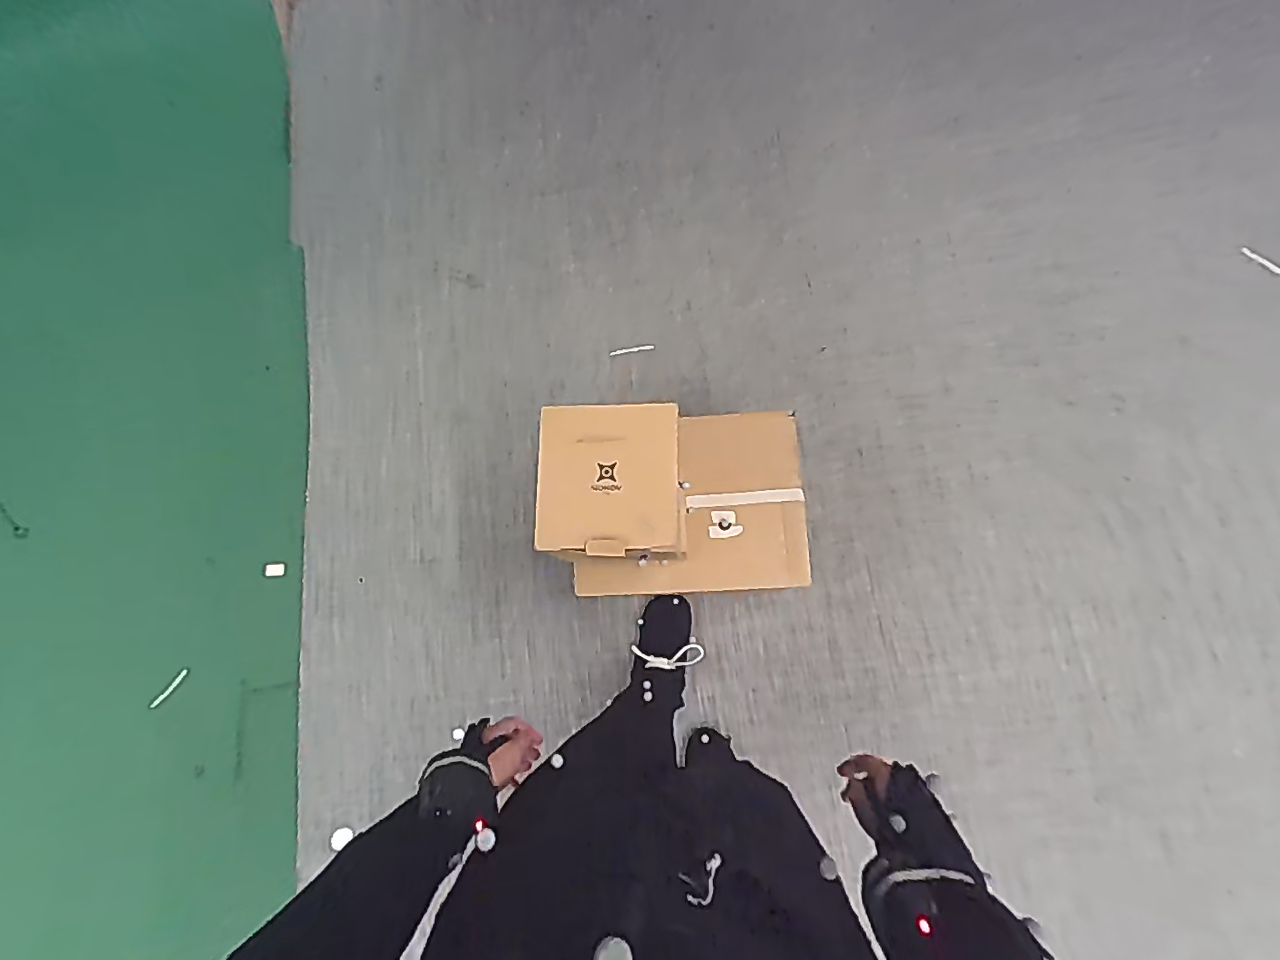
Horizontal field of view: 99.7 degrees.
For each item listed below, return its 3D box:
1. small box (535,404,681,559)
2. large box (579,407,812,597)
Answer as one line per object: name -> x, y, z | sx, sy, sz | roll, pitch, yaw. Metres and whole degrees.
small box -> -0.031, 0.012, 0.701 | 0.168, 0.176, 0.179 | -1, 78, 4
large box -> 0.096, 0.065, 1.093 | 0.408, 0.320, 0.320 | -4, 79, 5
